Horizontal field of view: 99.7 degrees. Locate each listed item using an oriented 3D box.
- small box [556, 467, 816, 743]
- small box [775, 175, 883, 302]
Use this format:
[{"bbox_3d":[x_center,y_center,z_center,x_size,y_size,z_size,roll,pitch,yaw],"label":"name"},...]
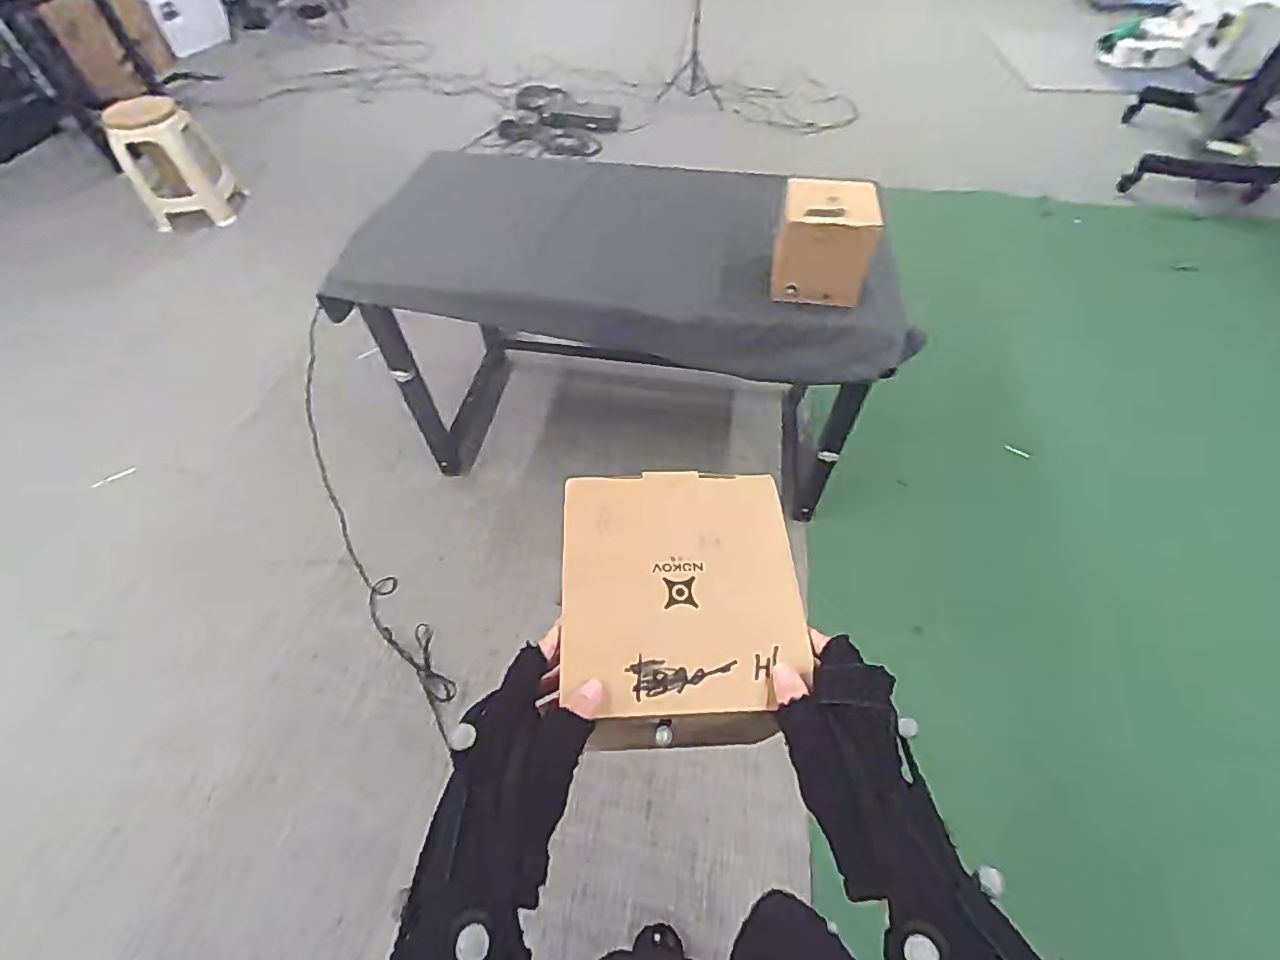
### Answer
[{"bbox_3d":[0.022,0.106,0.445,0.168,0.176,0.179,-1,57,-4],"label":"small box"},{"bbox_3d":[0.366,-0.475,1.072,0.168,0.176,0.179,8,53,7],"label":"small box"}]
